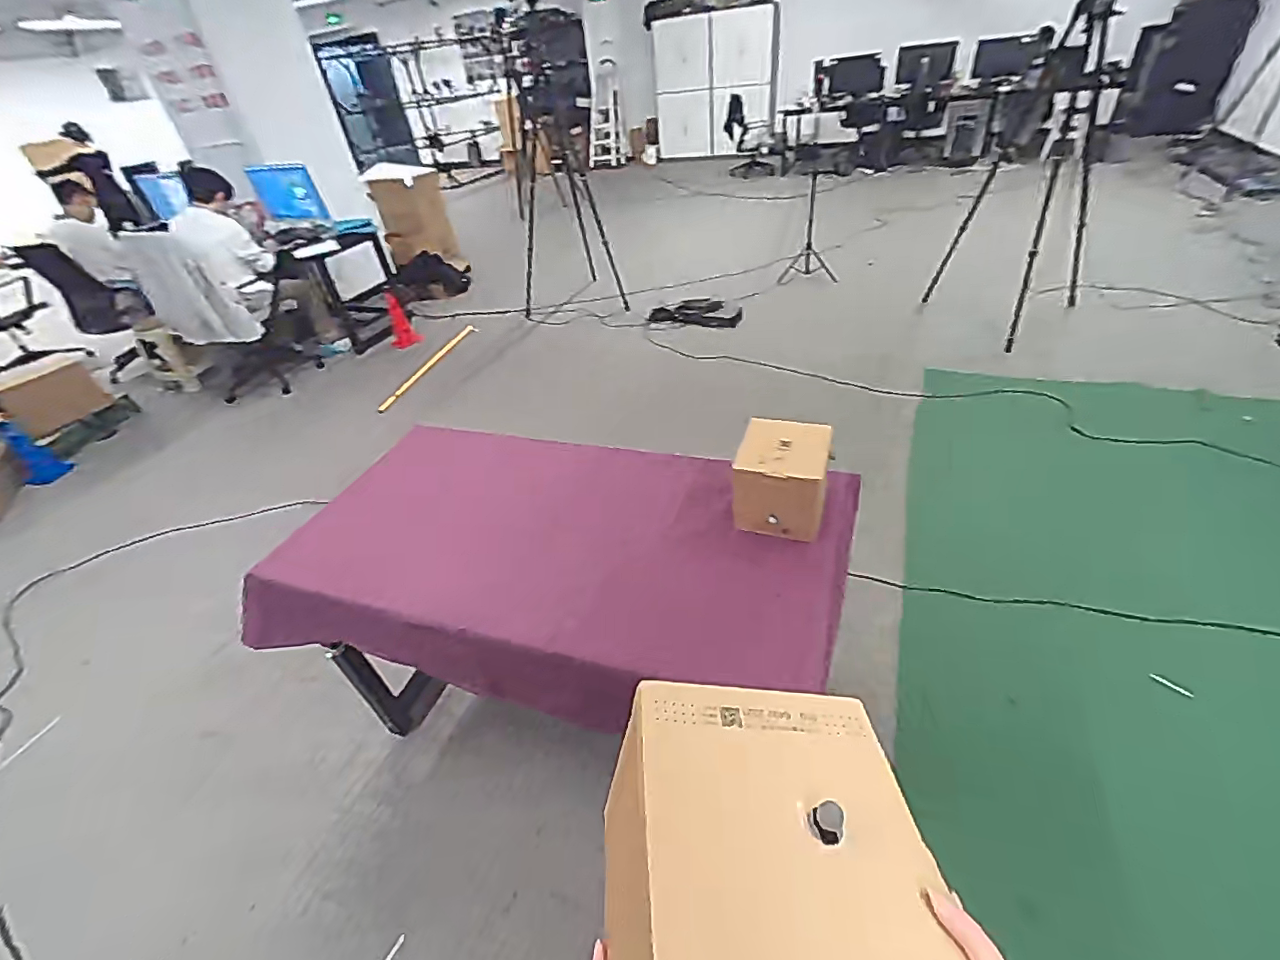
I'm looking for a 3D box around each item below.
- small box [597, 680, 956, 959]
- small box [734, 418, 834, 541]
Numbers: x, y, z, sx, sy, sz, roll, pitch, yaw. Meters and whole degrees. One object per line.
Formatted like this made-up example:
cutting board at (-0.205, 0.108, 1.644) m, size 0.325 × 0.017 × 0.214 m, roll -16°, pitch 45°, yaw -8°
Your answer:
small box at (0.061, 0.259, 0.367) m, size 0.168 × 0.179 × 0.176 m, roll 7°, pitch 32°, yaw -7°
small box at (0.294, -0.003, 1.107) m, size 0.168 × 0.176 × 0.179 m, roll 9°, pitch 44°, yaw 22°
